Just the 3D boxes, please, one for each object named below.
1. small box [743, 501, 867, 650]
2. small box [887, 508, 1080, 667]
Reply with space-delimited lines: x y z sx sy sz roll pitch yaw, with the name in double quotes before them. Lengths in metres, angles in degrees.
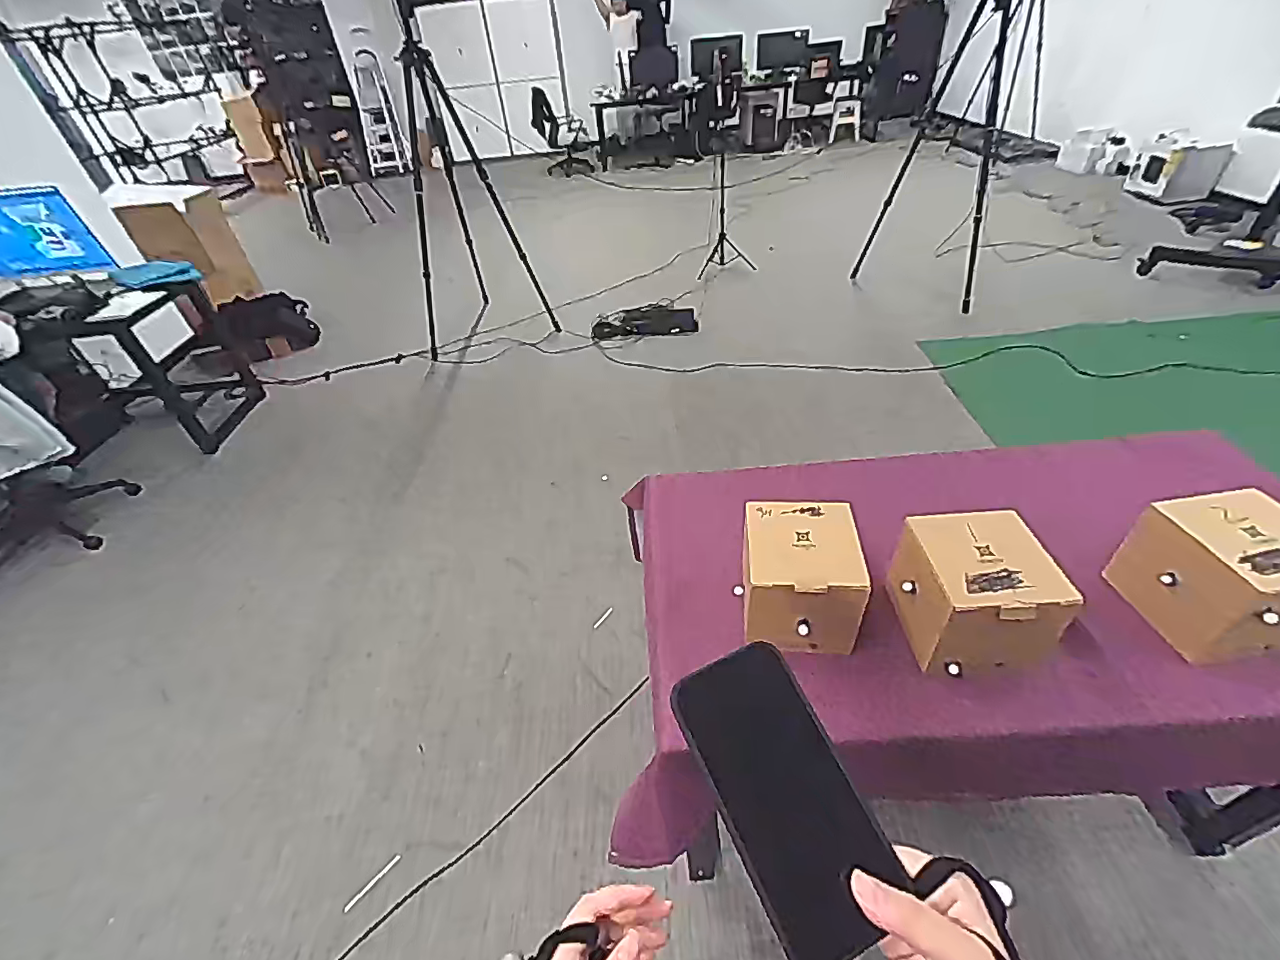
"small box" 0.253 0.153 0.867 0.168 0.176 0.179 0 42 9
"small box" 0.497 0.167 0.814 0.168 0.176 0.179 -4 40 3
